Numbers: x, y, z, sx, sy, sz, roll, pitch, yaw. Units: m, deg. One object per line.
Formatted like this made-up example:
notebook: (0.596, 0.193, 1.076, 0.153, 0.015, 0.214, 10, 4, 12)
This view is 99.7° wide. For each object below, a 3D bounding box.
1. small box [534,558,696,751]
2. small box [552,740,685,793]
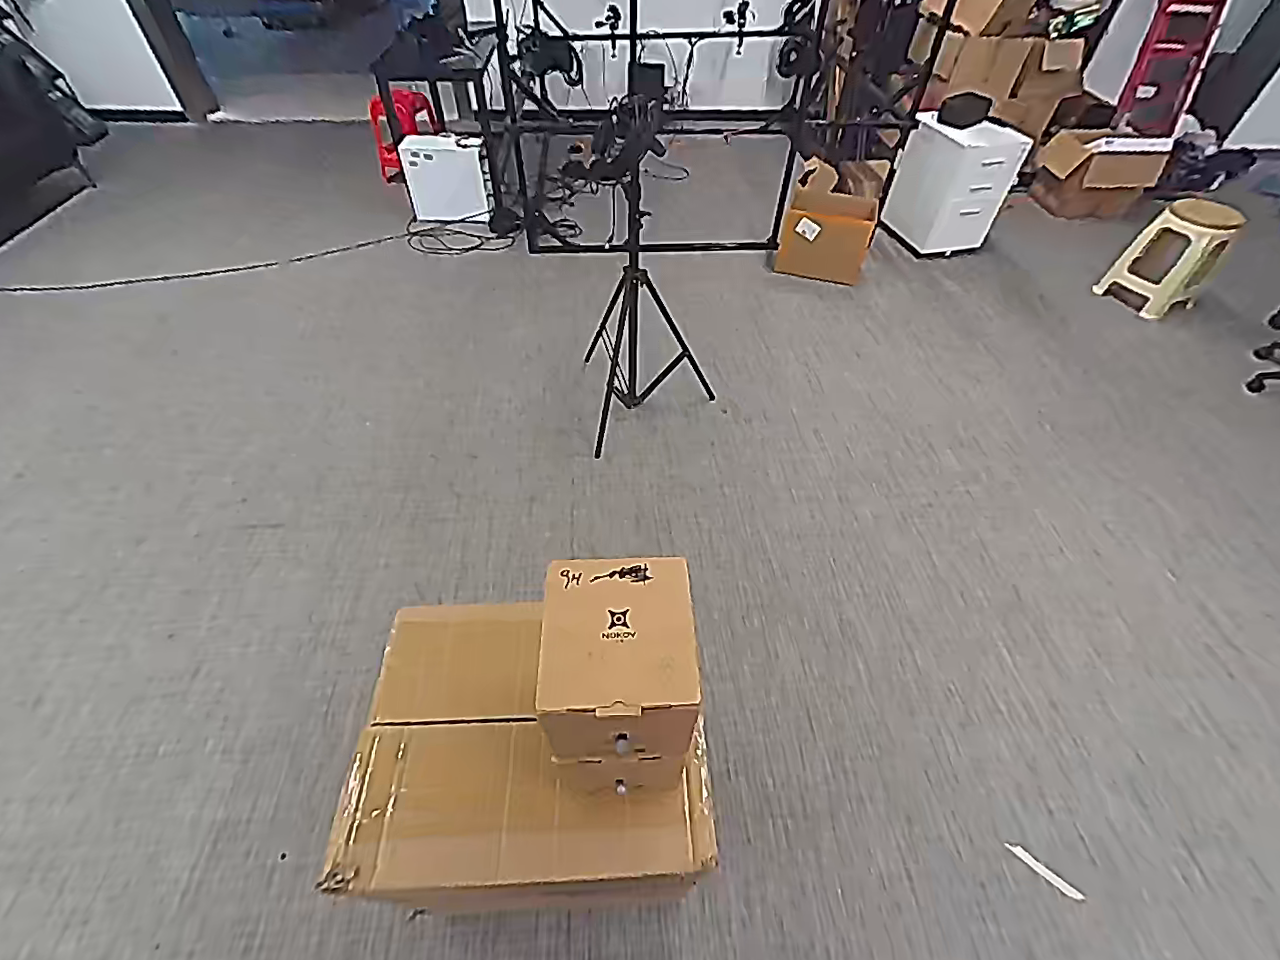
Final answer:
small box: (-0.026, 0.213, 0.647, 0.168, 0.176, 0.179, -2, 49, -1)
small box: (-0.031, 0.324, 0.768, 0.168, 0.176, 0.179, -3, 49, -2)
